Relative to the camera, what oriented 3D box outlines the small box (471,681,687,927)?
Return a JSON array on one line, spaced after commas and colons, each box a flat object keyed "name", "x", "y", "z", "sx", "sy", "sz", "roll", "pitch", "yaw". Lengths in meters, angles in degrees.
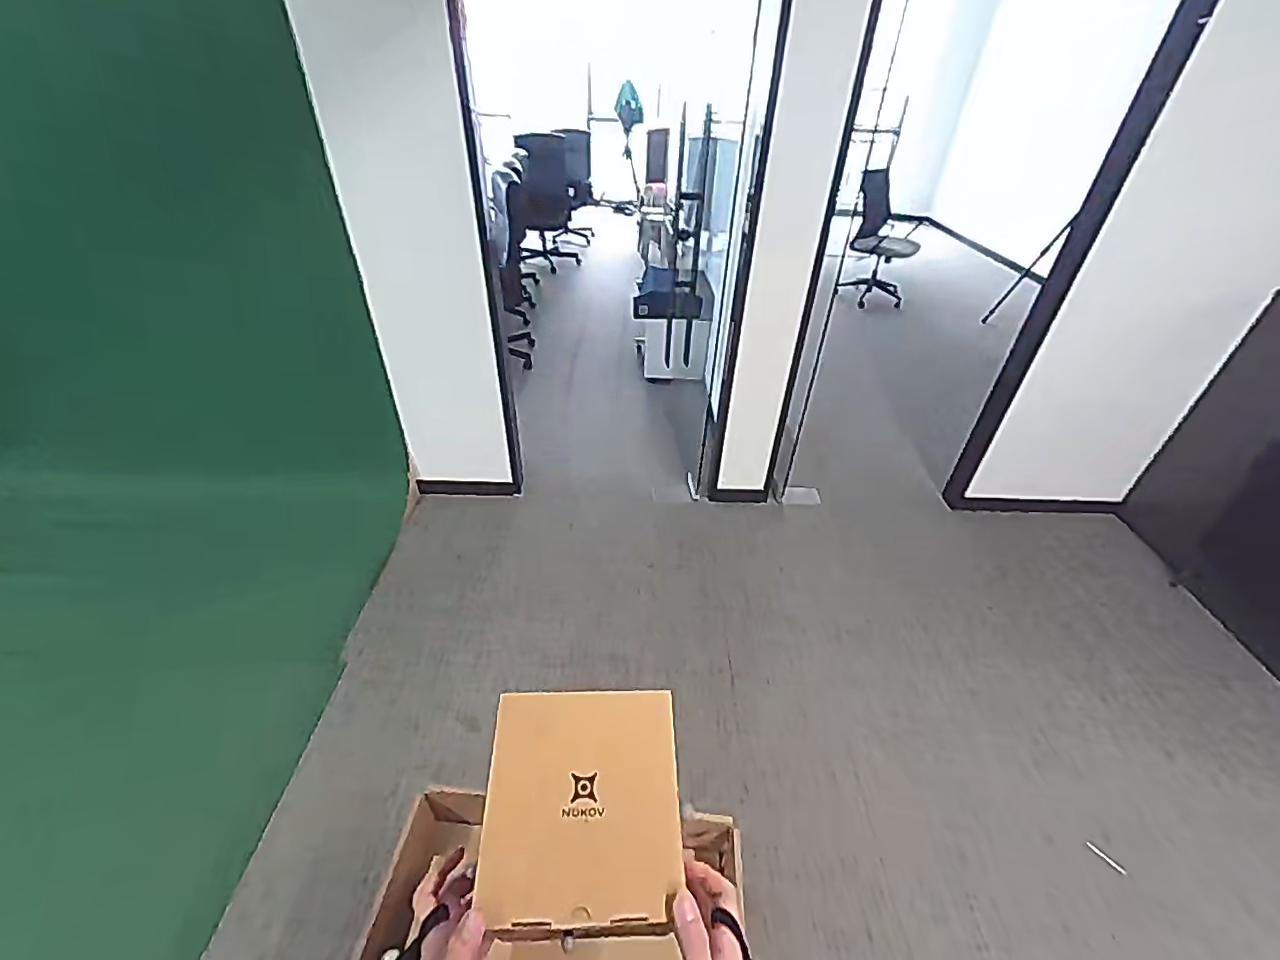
[{"name": "small box", "x": -0.053, "y": 0.311, "z": 0.520, "sx": 0.168, "sy": 0.176, "sz": 0.179, "roll": 1, "pitch": 49, "yaw": -4}]
